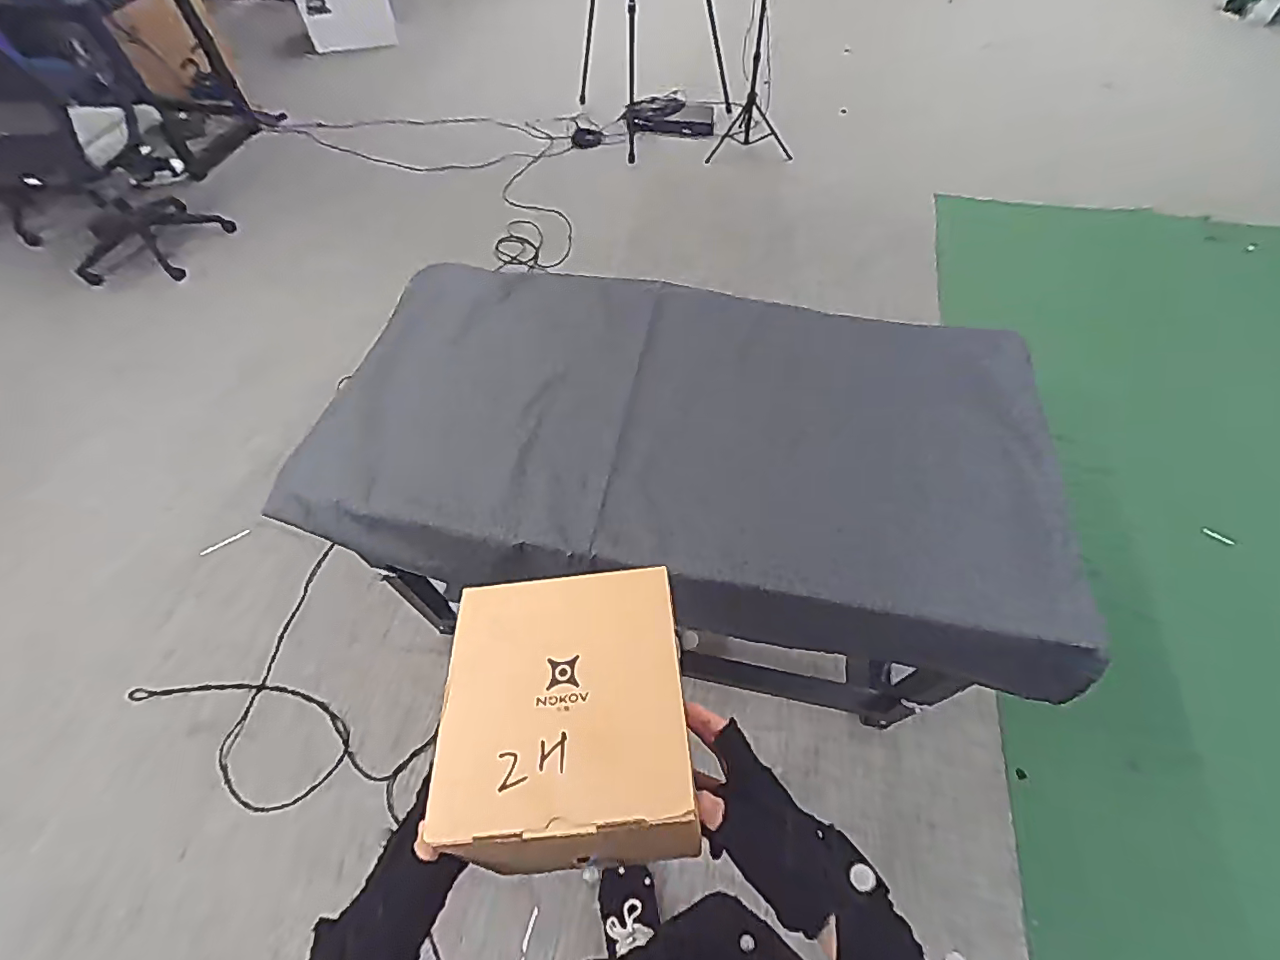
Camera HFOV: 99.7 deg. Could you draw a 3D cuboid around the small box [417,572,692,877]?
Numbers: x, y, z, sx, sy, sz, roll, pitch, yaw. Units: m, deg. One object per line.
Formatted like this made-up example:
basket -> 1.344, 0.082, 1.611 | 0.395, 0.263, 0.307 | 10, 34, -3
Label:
small box -> -0.049, 0.197, 0.432 | 0.168, 0.176, 0.179 | -6, 49, 2
